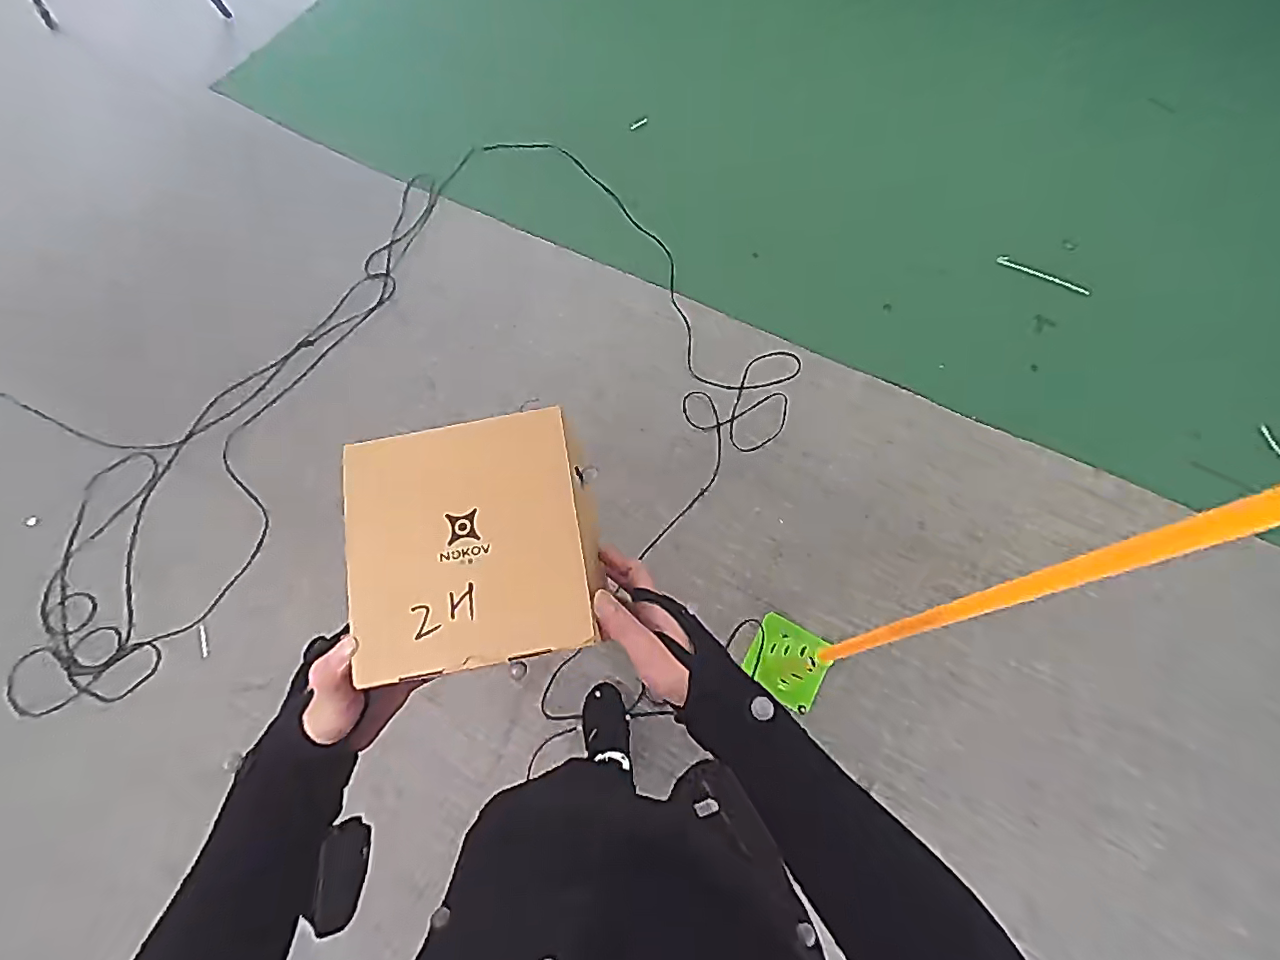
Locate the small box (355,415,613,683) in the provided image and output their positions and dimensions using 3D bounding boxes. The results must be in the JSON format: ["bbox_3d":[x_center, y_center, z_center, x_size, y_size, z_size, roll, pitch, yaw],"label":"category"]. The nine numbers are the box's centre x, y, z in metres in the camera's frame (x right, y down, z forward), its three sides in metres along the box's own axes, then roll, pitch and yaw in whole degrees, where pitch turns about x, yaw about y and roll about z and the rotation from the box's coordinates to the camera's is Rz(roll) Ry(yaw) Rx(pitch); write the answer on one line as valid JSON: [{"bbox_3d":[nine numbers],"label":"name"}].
[{"bbox_3d":[-0.120,0.065,0.466,0.168,0.176,0.179,-10,75,0],"label":"small box"}]

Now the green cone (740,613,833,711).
[{"bbox_3d":[0.385,0.420,1.286,0.202,0.368,0.200,28,72,12],"label":"green cone"}]
